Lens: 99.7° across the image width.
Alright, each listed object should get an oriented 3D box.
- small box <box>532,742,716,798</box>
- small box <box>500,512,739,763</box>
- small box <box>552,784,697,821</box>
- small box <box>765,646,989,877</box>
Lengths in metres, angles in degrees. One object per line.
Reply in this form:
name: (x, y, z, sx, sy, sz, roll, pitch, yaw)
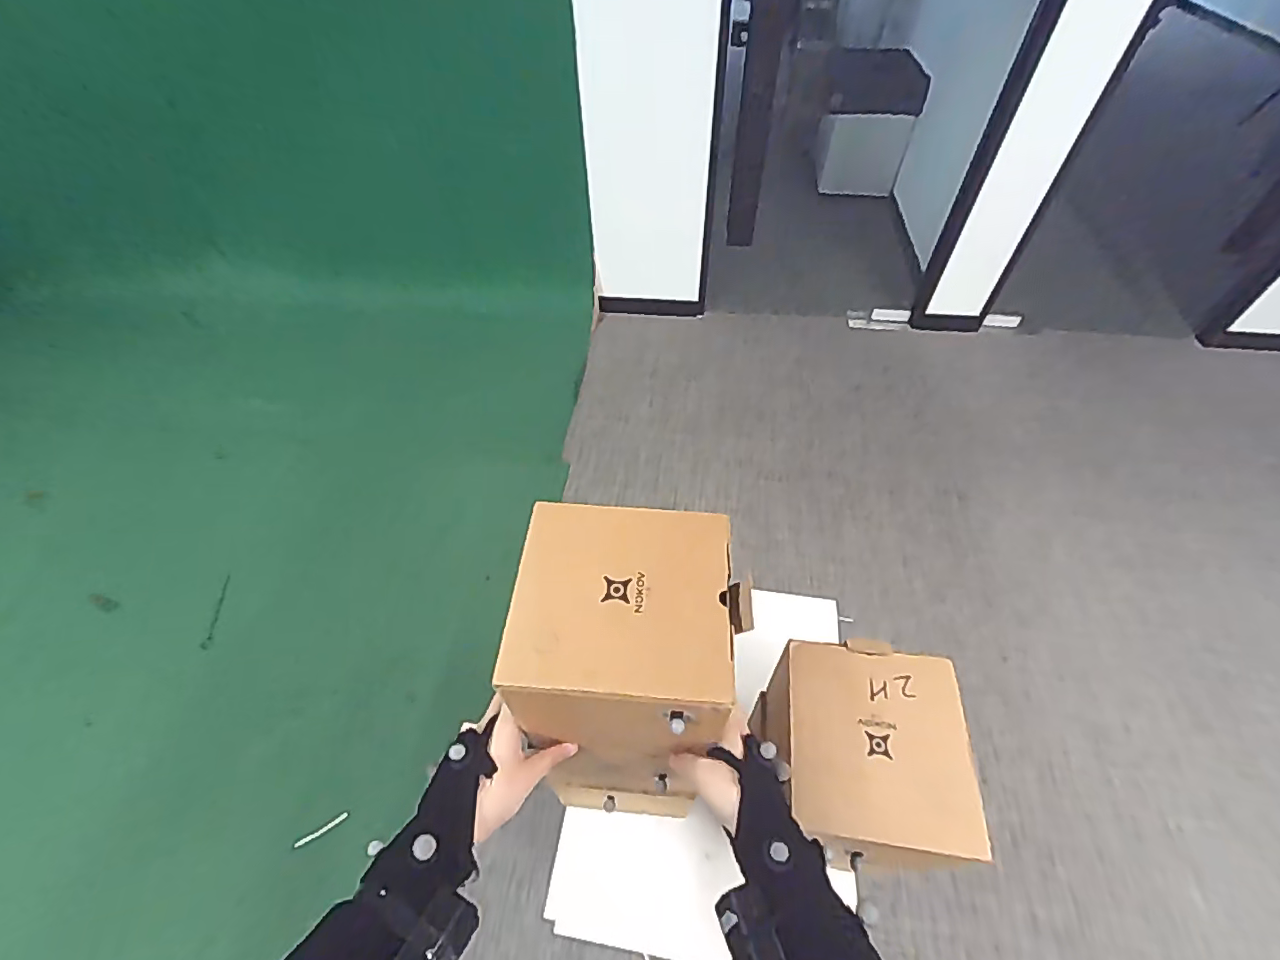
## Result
small box: (-0.012, 0.254, 0.619, 0.179, 0.176, 0.168, 3, 50, 2)
small box: (-0.011, 0.147, 0.495, 0.179, 0.176, 0.168, 4, 50, 1)
small box: (-0.012, 0.359, 0.744, 0.179, 0.176, 0.168, 4, 52, 2)
small box: (0.229, 0.300, 0.573, 0.168, 0.176, 0.179, 6, 52, 7)
